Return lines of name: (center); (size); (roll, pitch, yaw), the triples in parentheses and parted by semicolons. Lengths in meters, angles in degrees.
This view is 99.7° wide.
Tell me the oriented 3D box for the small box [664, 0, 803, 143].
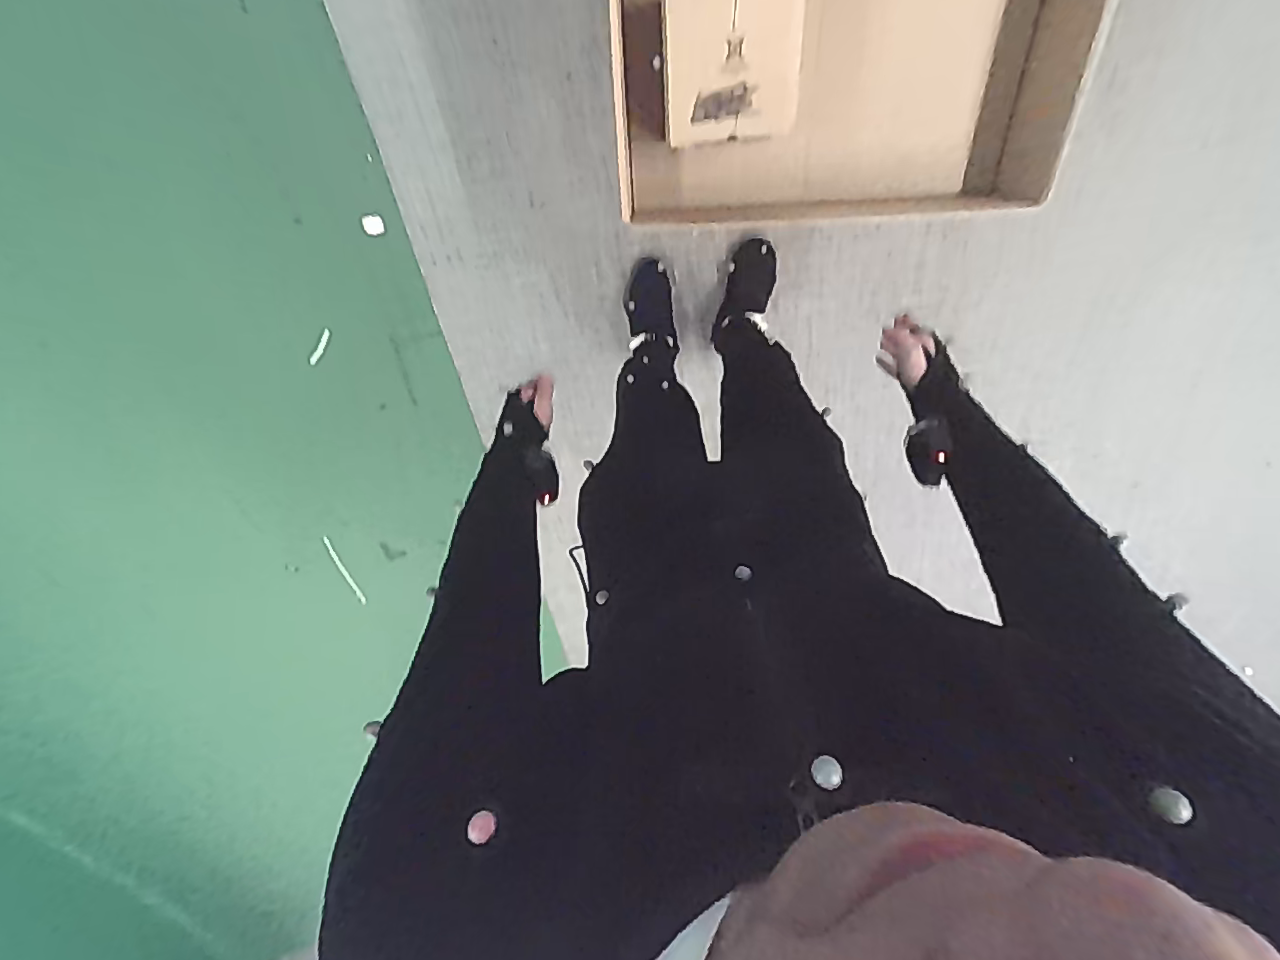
small box: (0.117, -0.568, 0.732); (0.168, 0.176, 0.179); (-2, 123, 4)
